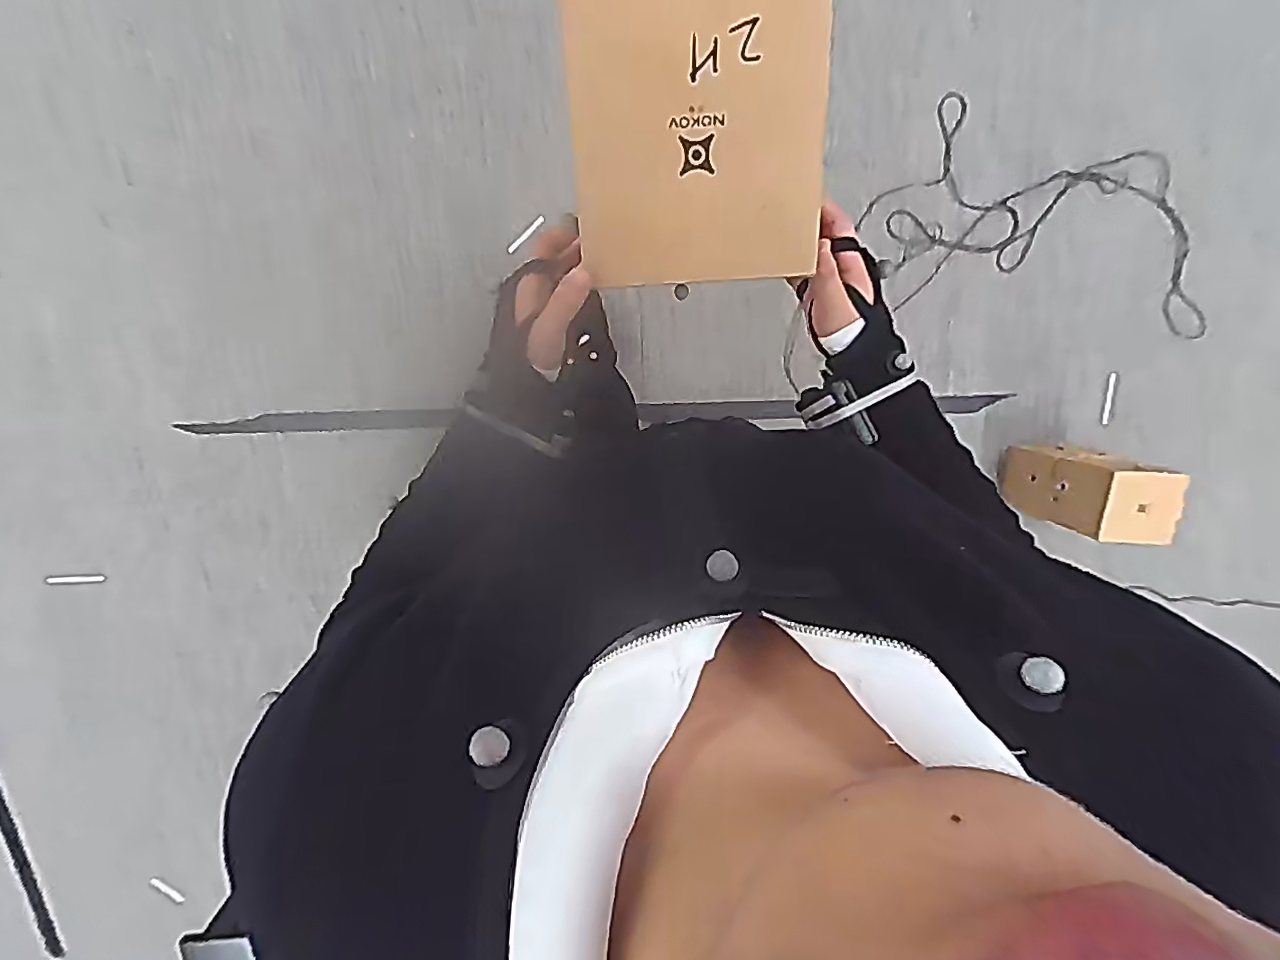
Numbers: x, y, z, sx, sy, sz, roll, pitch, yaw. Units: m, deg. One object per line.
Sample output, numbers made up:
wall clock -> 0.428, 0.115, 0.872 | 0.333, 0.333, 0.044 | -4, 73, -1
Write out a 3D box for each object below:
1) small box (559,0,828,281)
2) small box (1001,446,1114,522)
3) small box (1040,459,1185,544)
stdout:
small box -> 0.035, -0.256, 0.426 | 0.168, 0.176, 0.179 | -4, 110, 0
small box -> 1.102, 0.004, 1.443 | 0.168, 0.176, 0.179 | -2, 103, -1
small box -> 1.111, 0.045, 1.285 | 0.179, 0.176, 0.168 | 2, 102, -1
